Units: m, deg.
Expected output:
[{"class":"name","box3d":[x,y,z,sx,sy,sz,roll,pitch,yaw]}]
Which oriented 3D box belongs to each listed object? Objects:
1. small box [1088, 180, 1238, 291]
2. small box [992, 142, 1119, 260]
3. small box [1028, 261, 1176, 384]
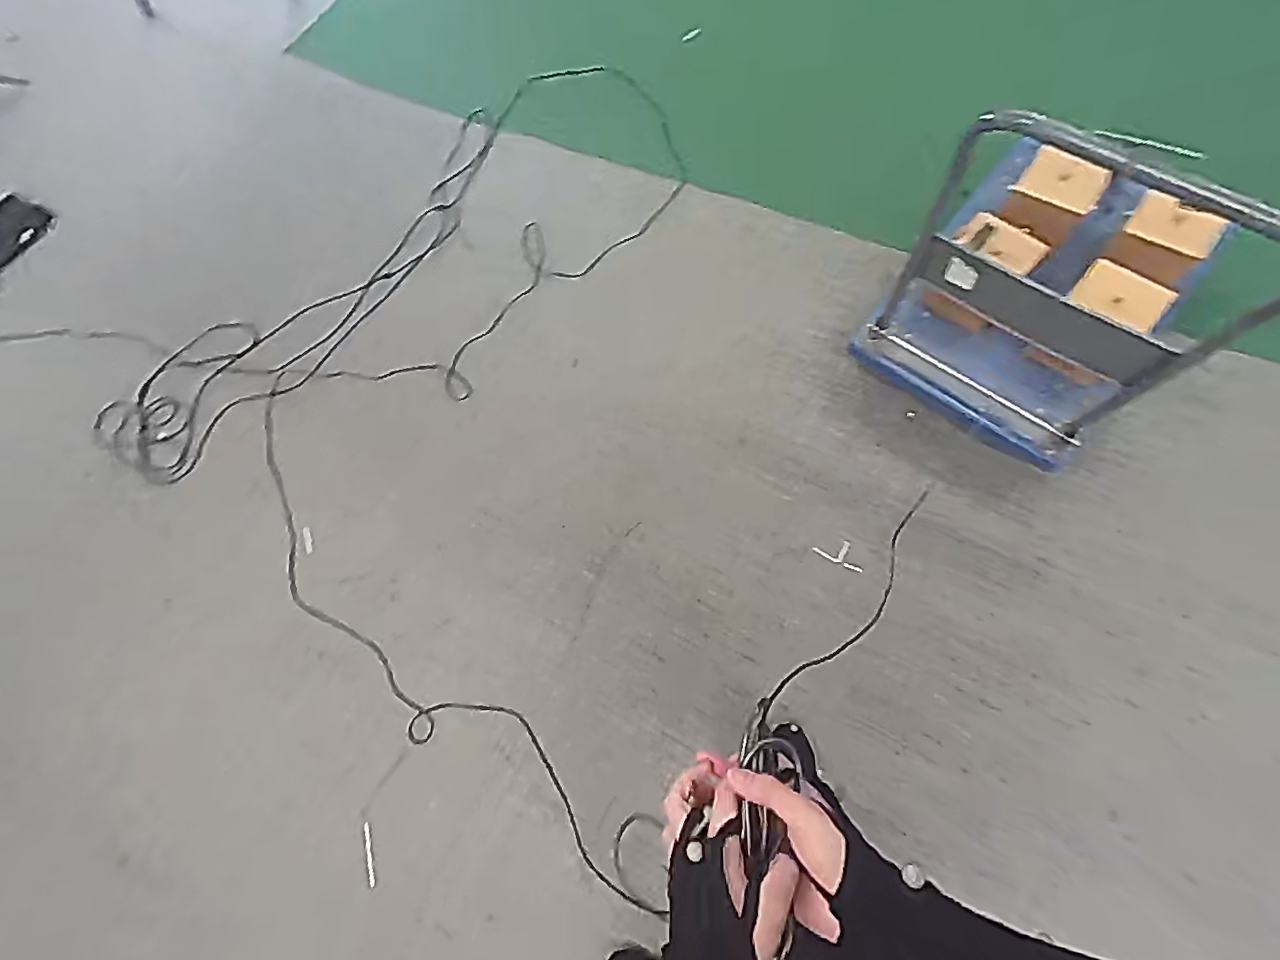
[{"class":"small box","box3d":[1.233,-0.562,1.292,0.168,0.176,0.179,35,81,19]},{"class":"small box","box3d":[1.036,-0.698,1.369,0.168,0.176,0.179,35,80,17]},{"class":"small box","box3d":[1.056,-0.360,1.255,0.168,0.176,0.179,40,82,18]}]
